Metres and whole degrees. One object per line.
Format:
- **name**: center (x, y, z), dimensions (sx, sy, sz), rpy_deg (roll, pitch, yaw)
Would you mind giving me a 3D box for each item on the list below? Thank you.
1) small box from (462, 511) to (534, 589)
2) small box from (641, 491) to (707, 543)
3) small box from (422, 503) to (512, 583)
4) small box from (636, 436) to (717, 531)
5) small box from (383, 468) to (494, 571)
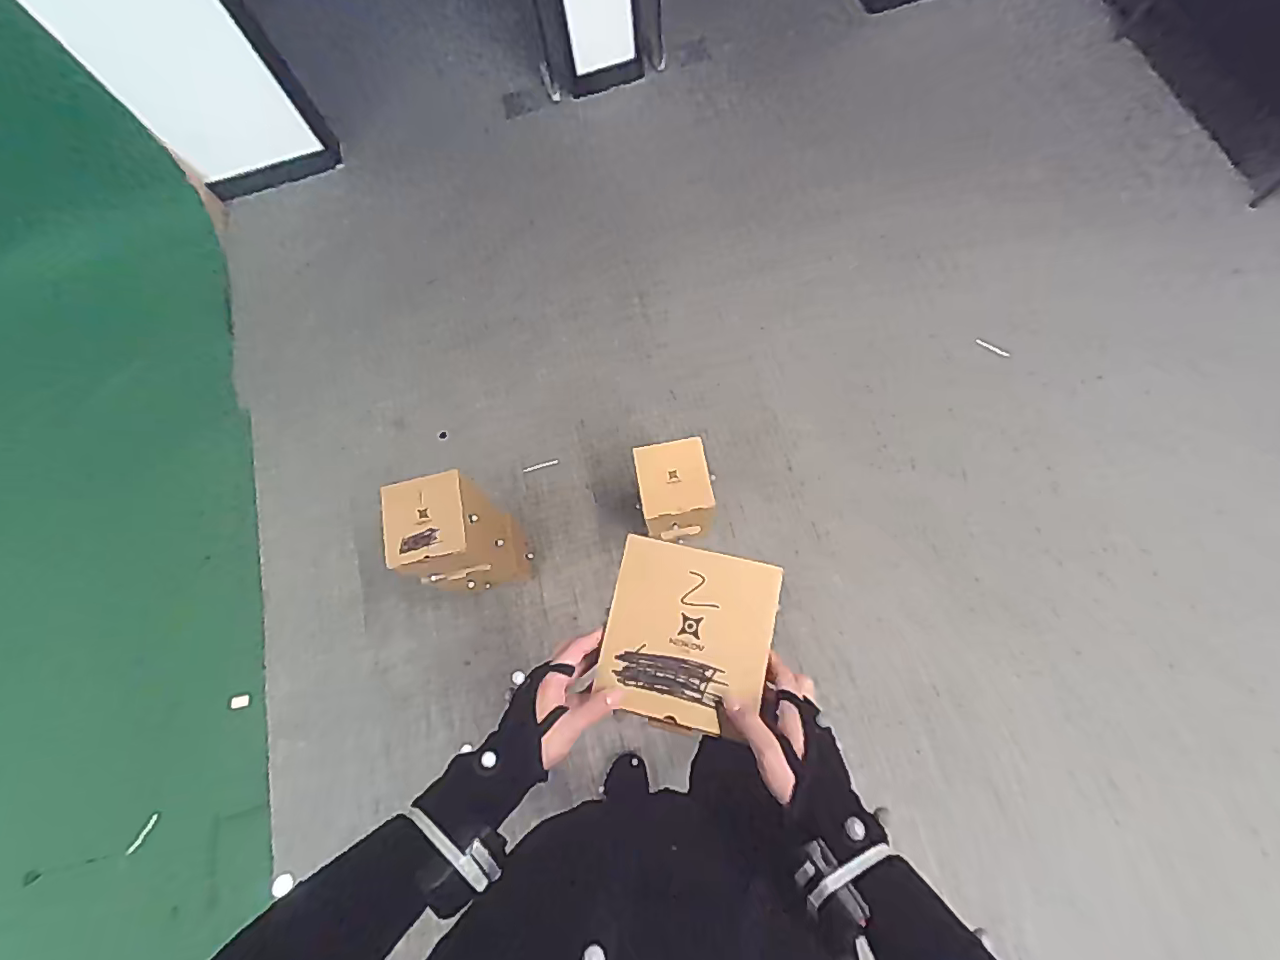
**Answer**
- **small box**: center (-0.403, 0.195, 1.471), dimensions (0.179, 0.176, 0.168), rpy_deg (-11, 73, 1)
- **small box**: center (0.091, 0.066, 1.469), dimensions (0.168, 0.176, 0.179), rpy_deg (-6, 73, 5)
- **small box**: center (-0.420, 0.152, 1.314), dimensions (0.168, 0.176, 0.179), rpy_deg (-11, 74, 1)
- **small box**: center (0.085, 0.014, 1.317), dimensions (0.168, 0.176, 0.179), rpy_deg (-10, 73, 1)
- **small box**: center (-0.425, 0.093, 1.160), dimensions (0.168, 0.176, 0.179), rpy_deg (-13, 72, 1)
